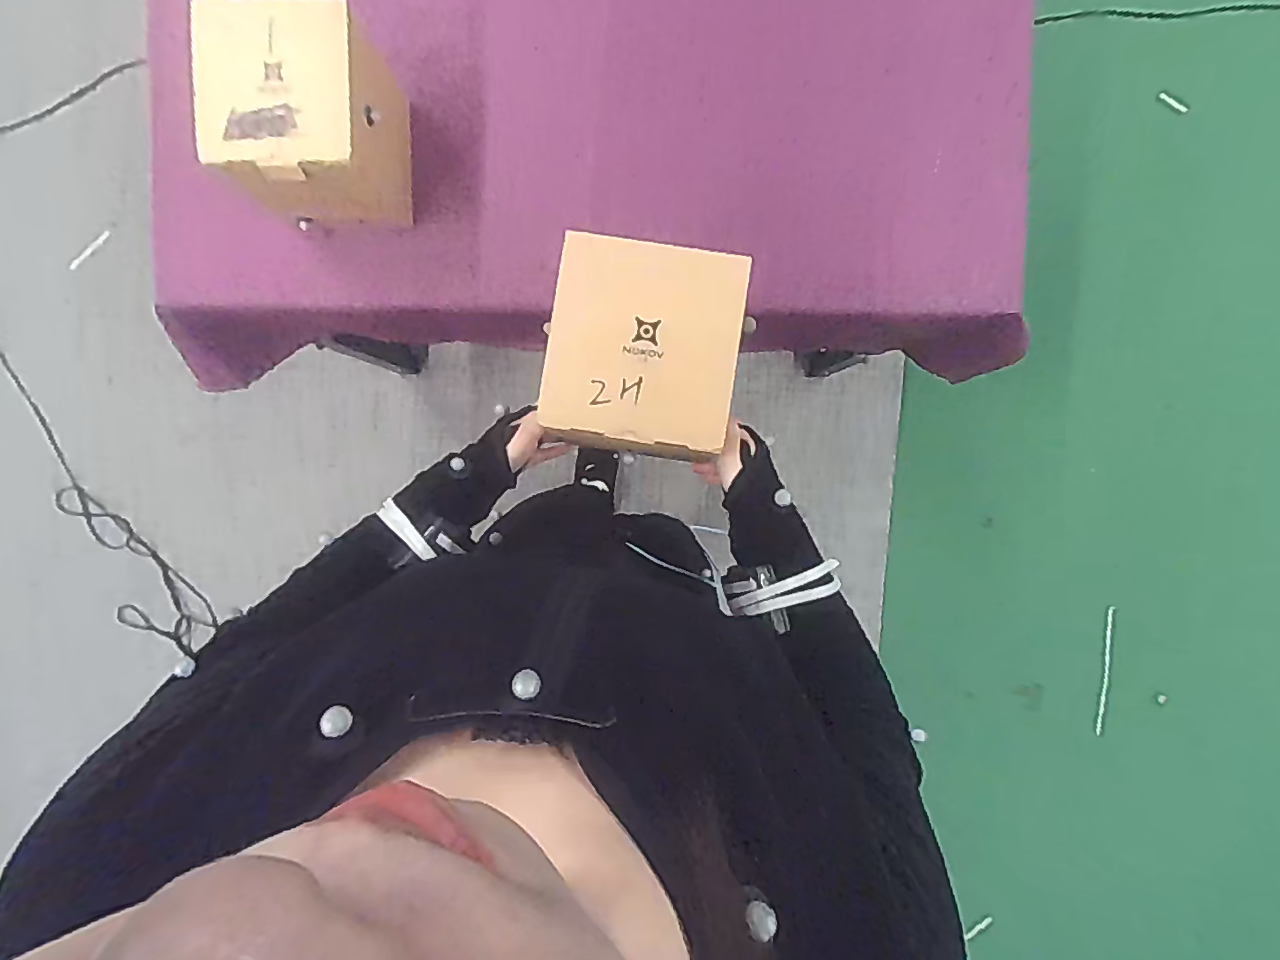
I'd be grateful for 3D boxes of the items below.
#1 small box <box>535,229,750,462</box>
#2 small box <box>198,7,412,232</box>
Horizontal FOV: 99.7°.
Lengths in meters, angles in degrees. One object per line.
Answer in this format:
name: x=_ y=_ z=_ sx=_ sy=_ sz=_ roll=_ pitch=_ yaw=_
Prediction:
small box: x=0.003 y=-0.119 z=0.548 sx=0.168 sy=0.176 sz=0.179 roll=9 pitch=89 yaw=2
small box: x=-0.392 y=-0.422 z=0.662 sx=0.168 sy=0.176 sz=0.179 roll=-1 pitch=91 yaw=-1
